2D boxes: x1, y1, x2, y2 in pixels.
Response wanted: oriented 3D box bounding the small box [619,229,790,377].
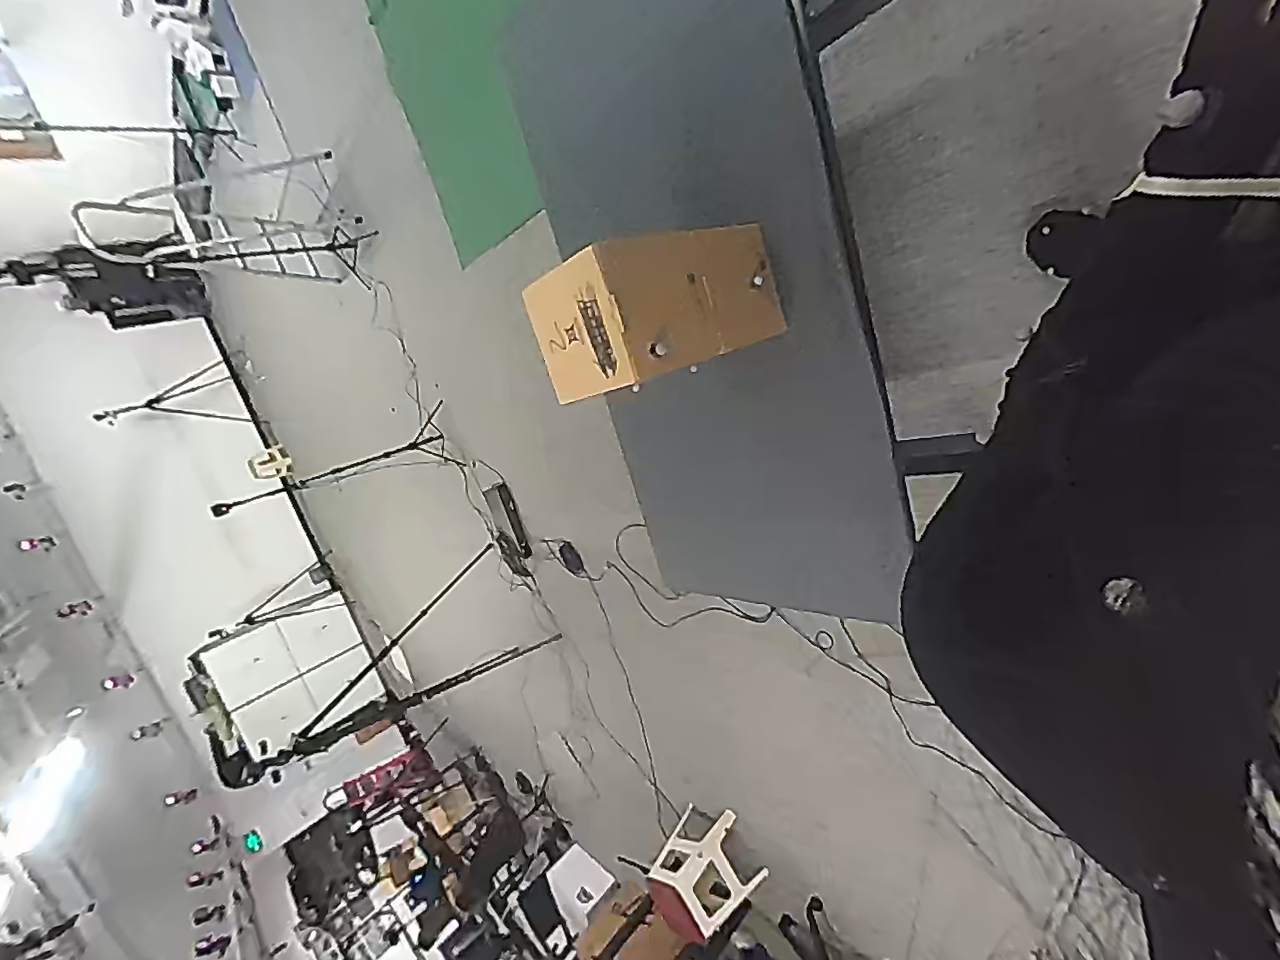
[{"bbox_3d":[0.102,-0.274,0.848,0.179,0.176,0.168,-6,107,50],"label":"small box"}]
